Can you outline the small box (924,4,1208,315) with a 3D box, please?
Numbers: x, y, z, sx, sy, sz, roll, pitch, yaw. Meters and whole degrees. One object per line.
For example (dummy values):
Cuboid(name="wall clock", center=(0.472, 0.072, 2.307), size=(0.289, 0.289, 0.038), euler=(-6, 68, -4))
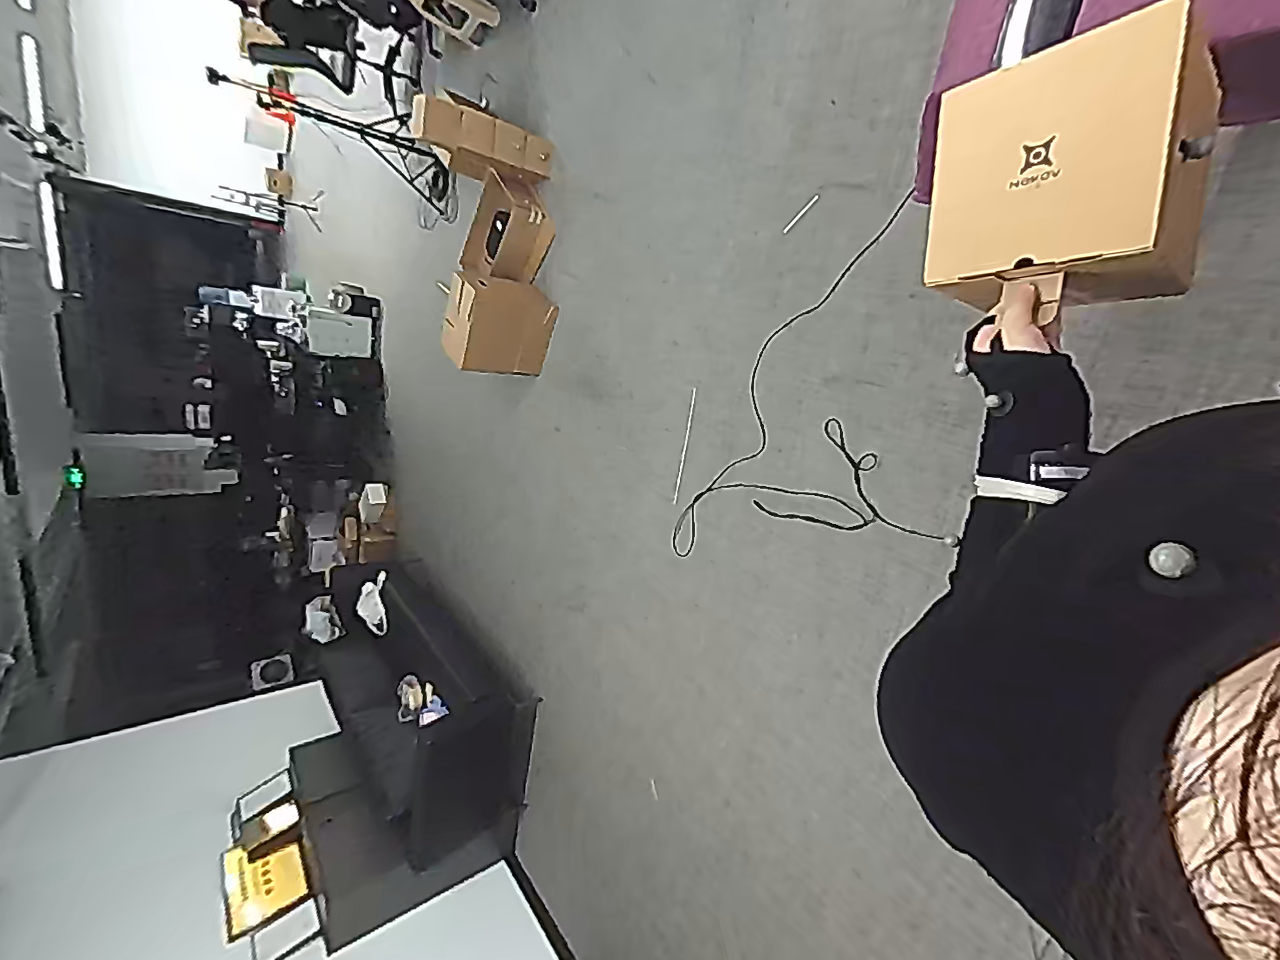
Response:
Cuboid(name="small box", center=(0.391, -0.263, 0.500), size=(0.168, 0.176, 0.179), euler=(10, 100, 50))
